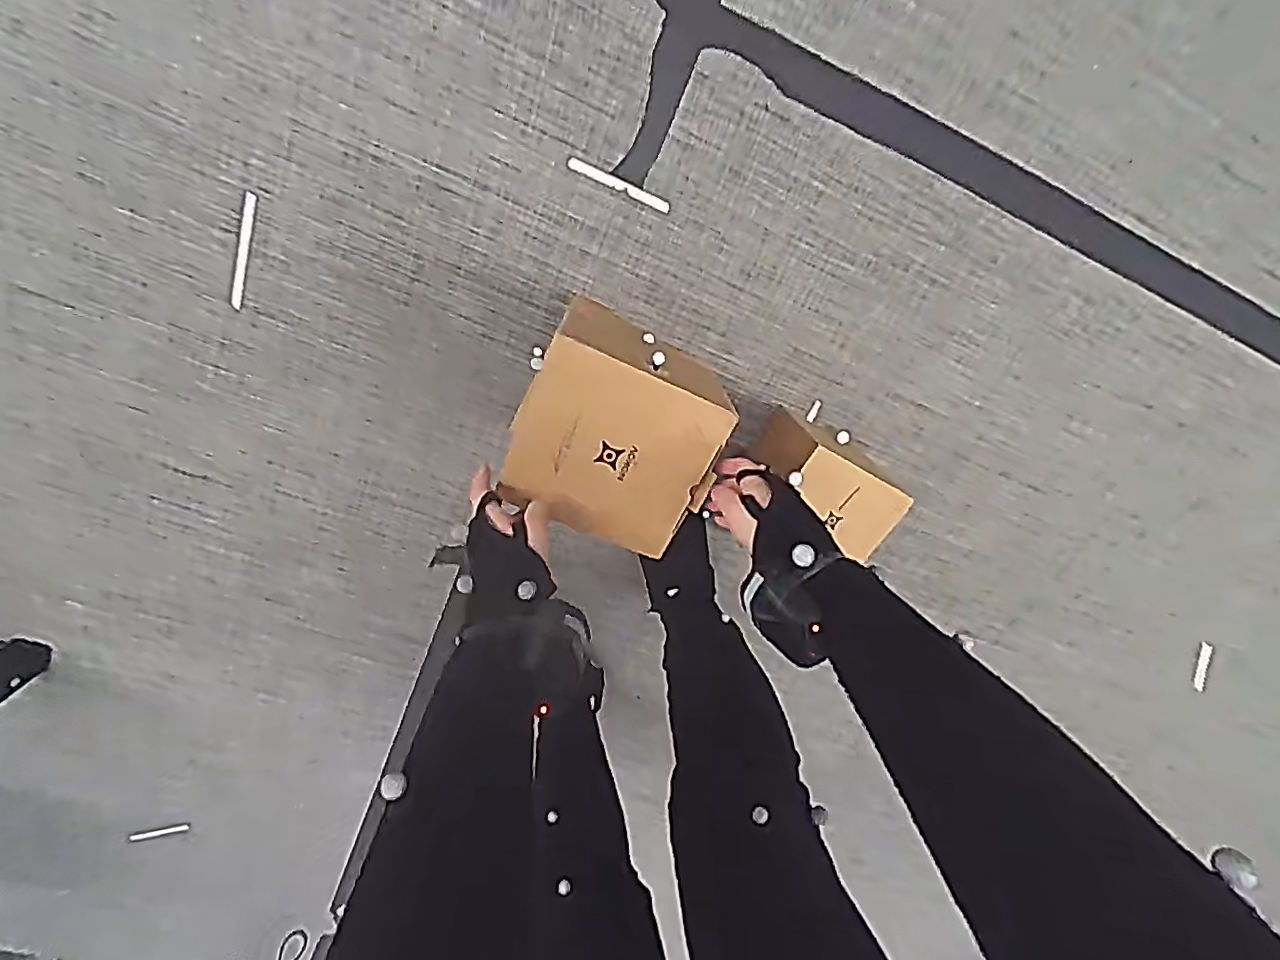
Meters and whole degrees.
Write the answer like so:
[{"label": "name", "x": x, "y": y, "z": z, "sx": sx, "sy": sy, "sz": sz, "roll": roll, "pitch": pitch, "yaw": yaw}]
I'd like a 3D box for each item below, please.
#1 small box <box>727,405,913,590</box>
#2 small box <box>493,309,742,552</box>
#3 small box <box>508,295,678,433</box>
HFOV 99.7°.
[{"label": "small box", "x": 0.243, "y": 0.020, "z": 0.786, "sx": 0.168, "sy": 0.176, "sz": 0.179, "roll": 27, "pitch": 110, "yaw": -15}, {"label": "small box", "x": -0.025, "y": -0.060, "z": 0.553, "sx": 0.179, "sy": 0.176, "sz": 0.168, "roll": 23, "pitch": 111, "yaw": -12}, {"label": "small box", "x": -0.047, "y": -0.122, "z": 0.703, "sx": 0.179, "sy": 0.176, "sz": 0.168, "roll": 27, "pitch": 111, "yaw": -15}]
